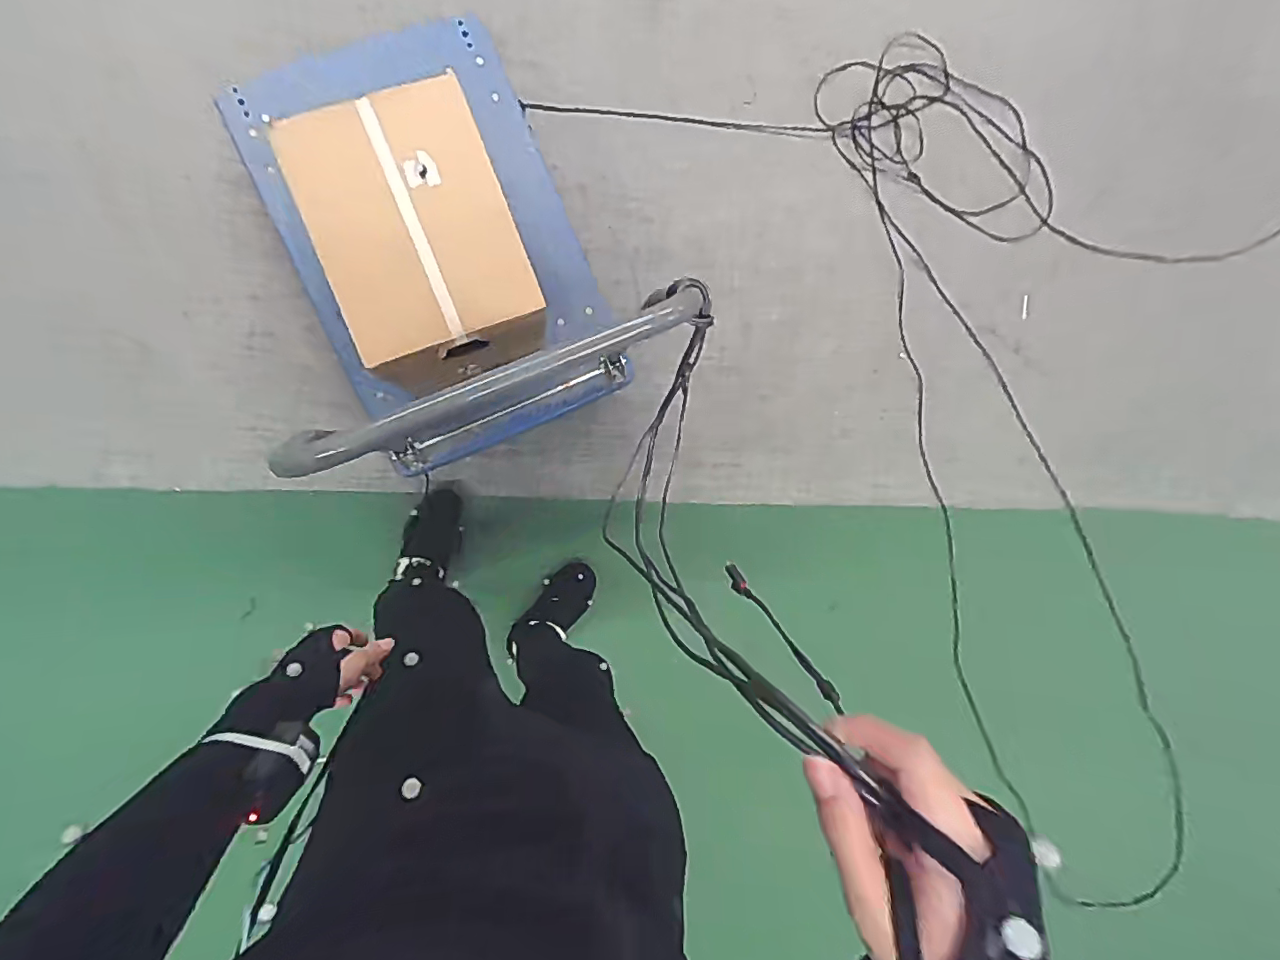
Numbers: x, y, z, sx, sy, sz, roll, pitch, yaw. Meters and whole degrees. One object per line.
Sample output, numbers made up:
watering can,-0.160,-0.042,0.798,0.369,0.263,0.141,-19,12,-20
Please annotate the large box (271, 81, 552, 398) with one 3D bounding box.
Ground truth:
large box,-0.382,-0.410,1.015,0.320,0.320,0.408,-22,94,-9
